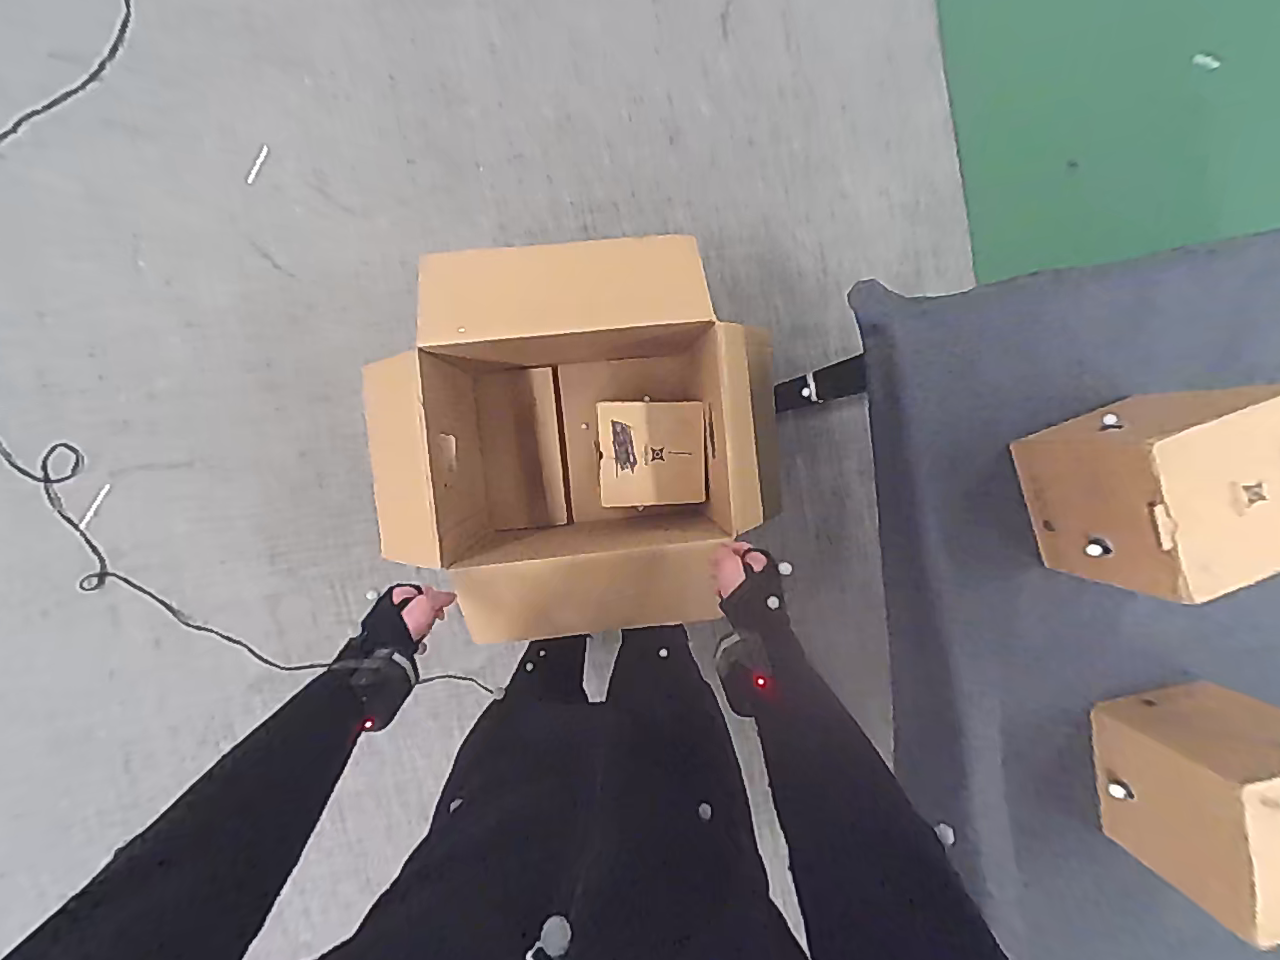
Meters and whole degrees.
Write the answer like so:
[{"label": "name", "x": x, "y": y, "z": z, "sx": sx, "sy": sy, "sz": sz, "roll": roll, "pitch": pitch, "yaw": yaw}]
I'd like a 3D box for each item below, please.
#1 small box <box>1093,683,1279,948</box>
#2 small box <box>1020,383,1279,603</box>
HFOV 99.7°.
[{"label": "small box", "x": 0.664, "y": 0.360, "z": 0.611, "sx": 0.168, "sy": 0.176, "sz": 0.179, "roll": -10, "pitch": 95, "yaw": -4}, {"label": "small box", "x": 0.555, "y": 0.008, "z": 0.584, "sx": 0.179, "sy": 0.176, "sz": 0.168, "roll": -21, "pitch": 96, "yaw": -5}]
